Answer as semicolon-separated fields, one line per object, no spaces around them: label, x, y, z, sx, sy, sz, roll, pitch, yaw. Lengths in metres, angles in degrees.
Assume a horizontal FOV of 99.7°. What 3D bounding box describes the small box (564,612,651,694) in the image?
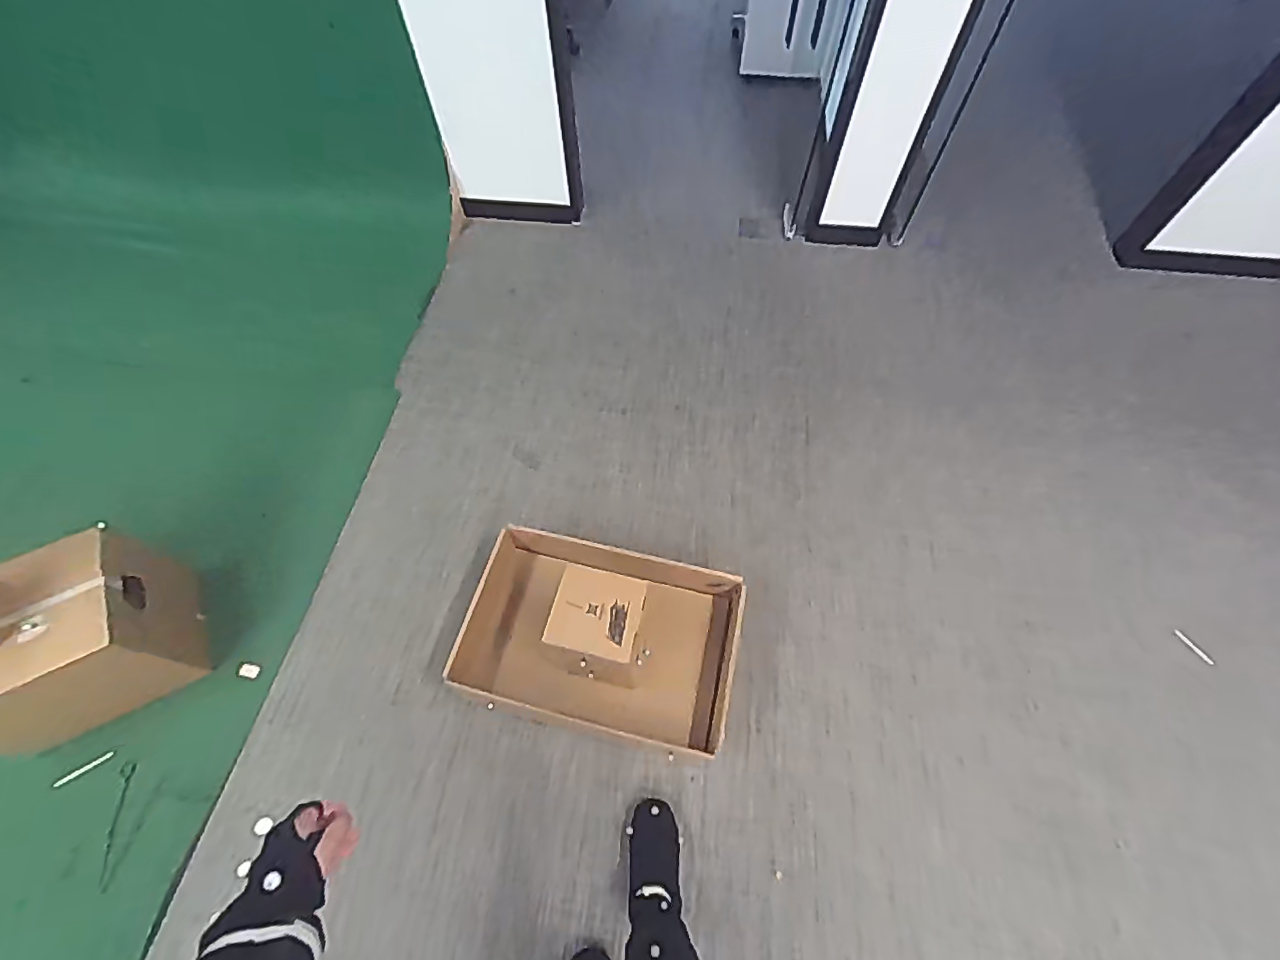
small box;-0.075;0.388;1.261;0.179;0.176;0.168;12;62;7

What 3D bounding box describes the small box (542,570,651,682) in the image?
small box;-0.080;0.307;1.117;0.179;0.176;0.168;12;61;9
